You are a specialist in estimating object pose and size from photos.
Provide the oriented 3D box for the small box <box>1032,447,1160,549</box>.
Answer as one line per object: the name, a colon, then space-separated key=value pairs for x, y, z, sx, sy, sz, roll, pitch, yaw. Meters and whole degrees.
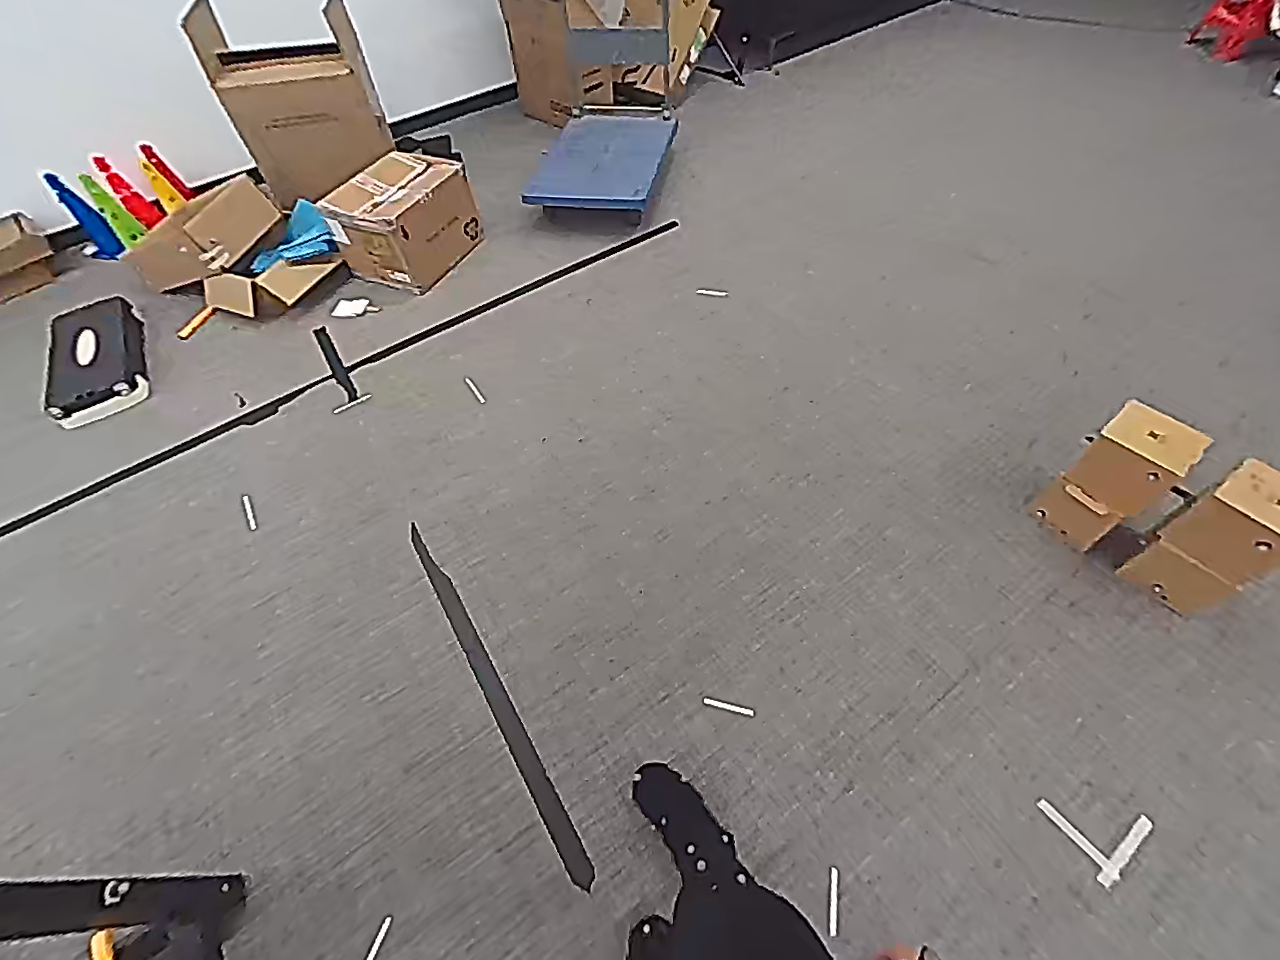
small box: x=1.186 y=0.051 z=1.427 sx=0.179 sy=0.176 sz=0.168 roll=-29 pitch=57 yaw=-16
